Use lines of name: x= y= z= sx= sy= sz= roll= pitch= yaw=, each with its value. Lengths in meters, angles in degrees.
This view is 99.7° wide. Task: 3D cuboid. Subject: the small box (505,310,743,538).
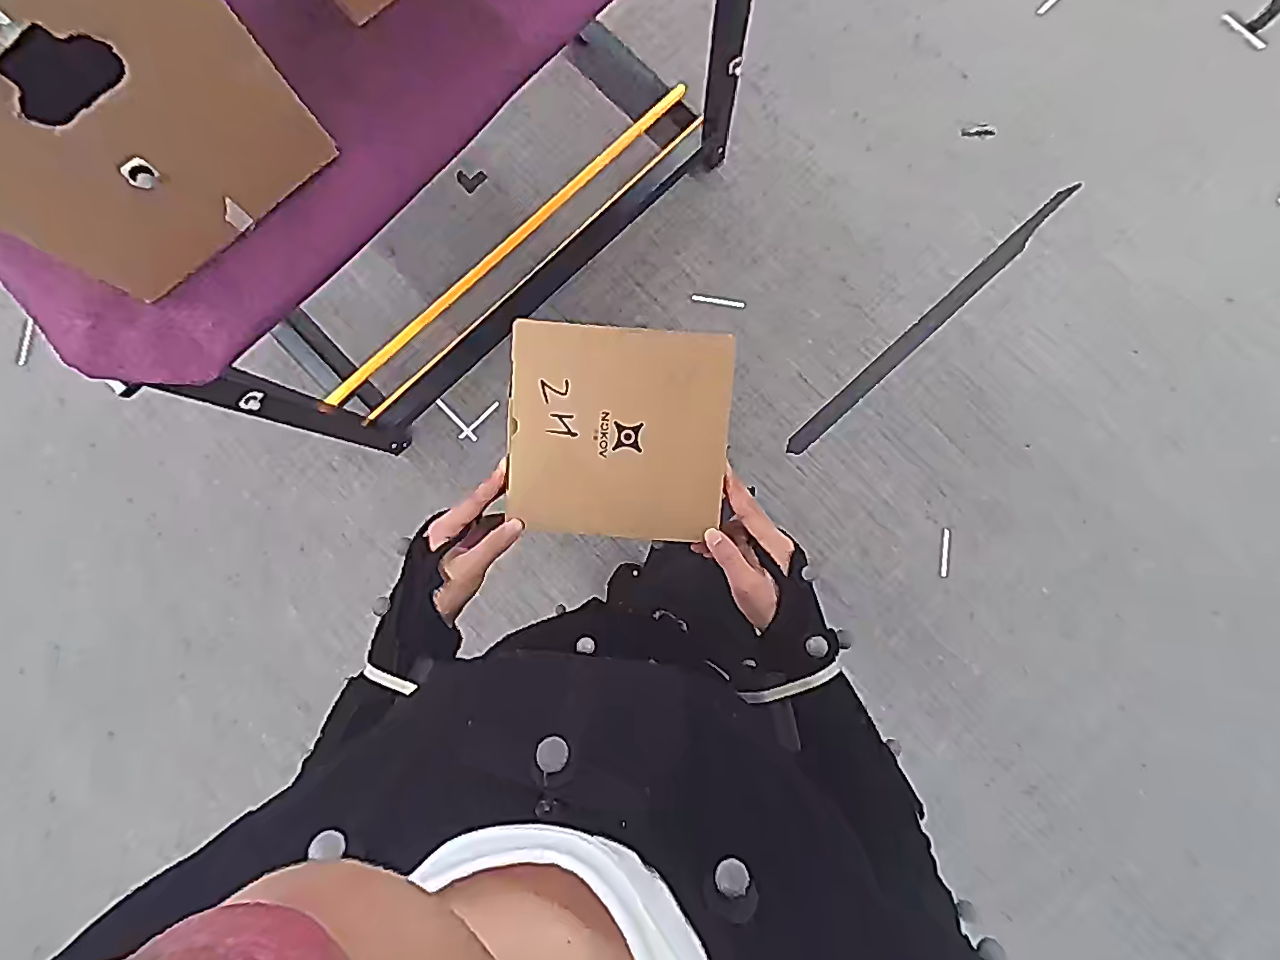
small box: x=-0.014 y=-0.052 z=0.496 sx=0.179 sy=0.176 sz=0.168 roll=5 pitch=97 yaw=1
